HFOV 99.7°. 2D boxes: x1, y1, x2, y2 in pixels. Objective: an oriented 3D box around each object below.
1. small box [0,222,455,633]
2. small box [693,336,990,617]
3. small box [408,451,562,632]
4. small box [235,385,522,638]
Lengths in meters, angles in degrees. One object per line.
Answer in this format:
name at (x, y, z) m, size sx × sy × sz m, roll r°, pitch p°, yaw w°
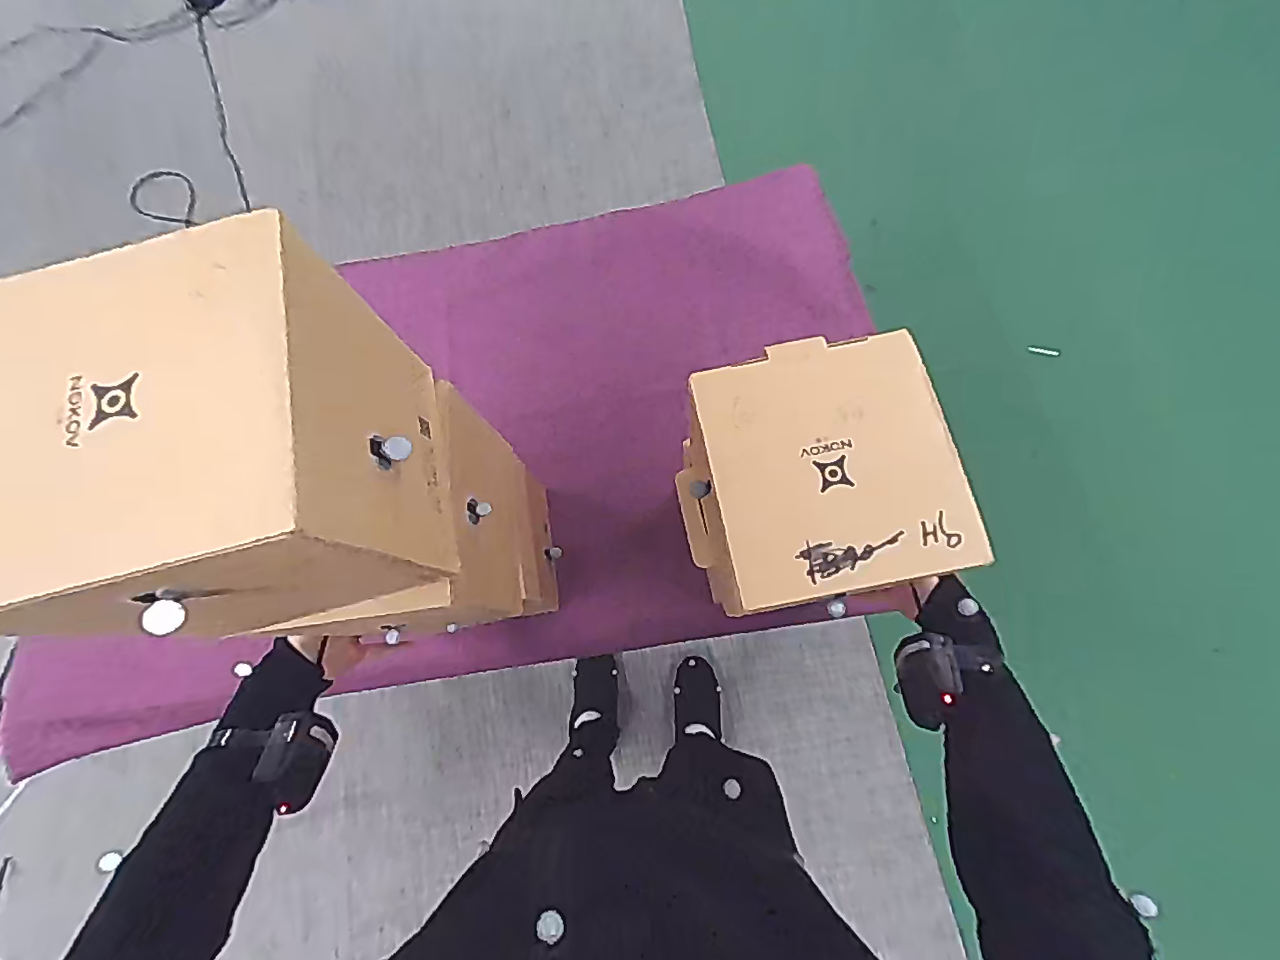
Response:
small box at (-0.227, -0.011, 0.325) m, size 0.179 × 0.176 × 0.168 m, roll -15°, pitch 73°, yaw 2°
small box at (0.140, 0.011, 0.453) m, size 0.168 × 0.176 × 0.179 m, roll -11°, pitch 73°, yaw 2°
small box at (-0.202, 0.082, 0.636) m, size 0.179 × 0.176 × 0.168 m, roll -10°, pitch 73°, yaw 2°
small box at (-0.209, 0.040, 0.478) m, size 0.168 × 0.176 × 0.179 m, roll -8°, pitch 73°, yaw 3°
